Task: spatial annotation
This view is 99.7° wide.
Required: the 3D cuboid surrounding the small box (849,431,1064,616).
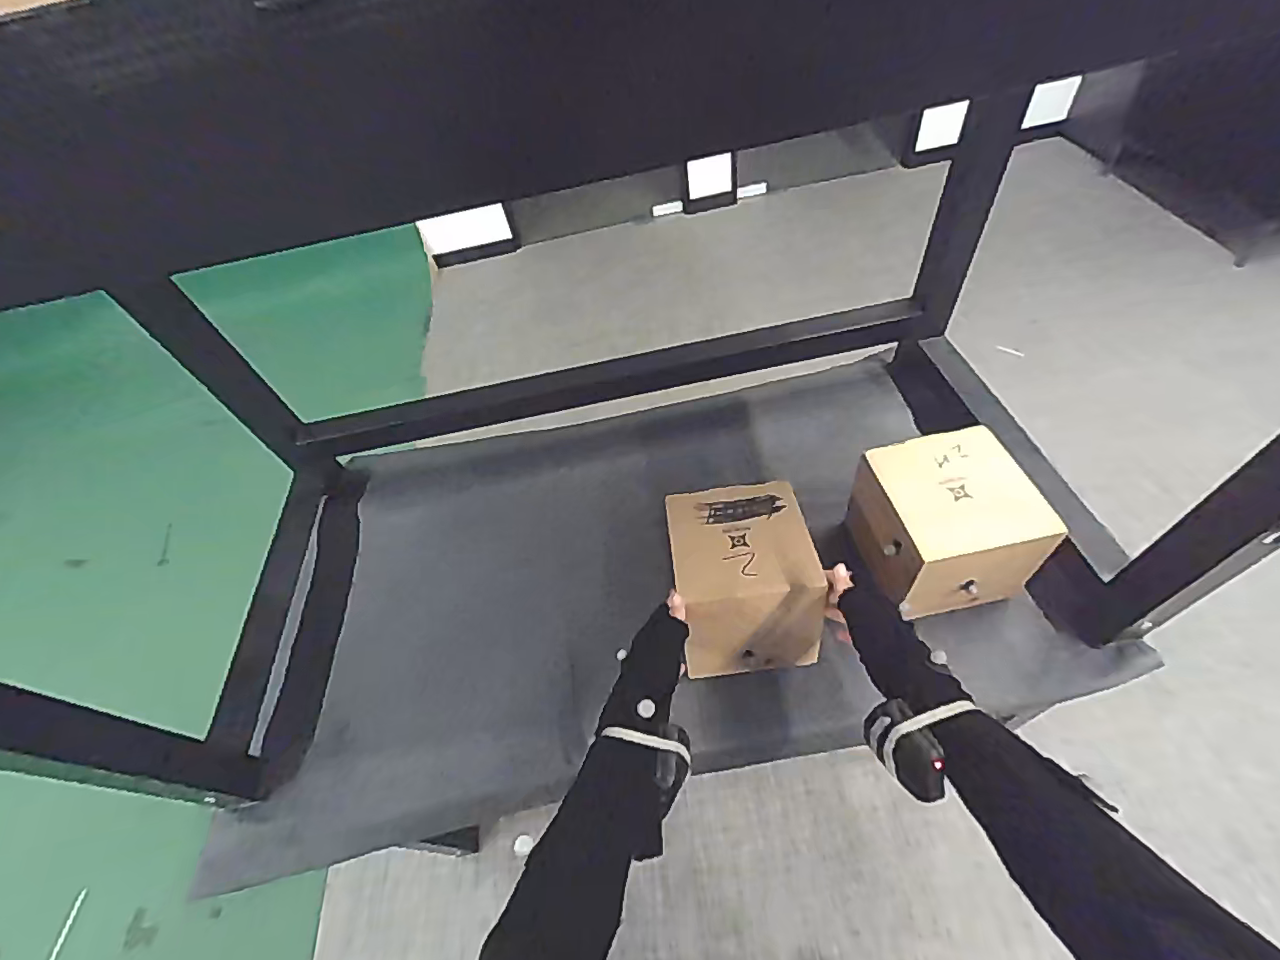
[{"bbox_3d":[0.400,0.066,0.723,0.168,0.176,0.179,-12,50,1],"label":"small box"}]
